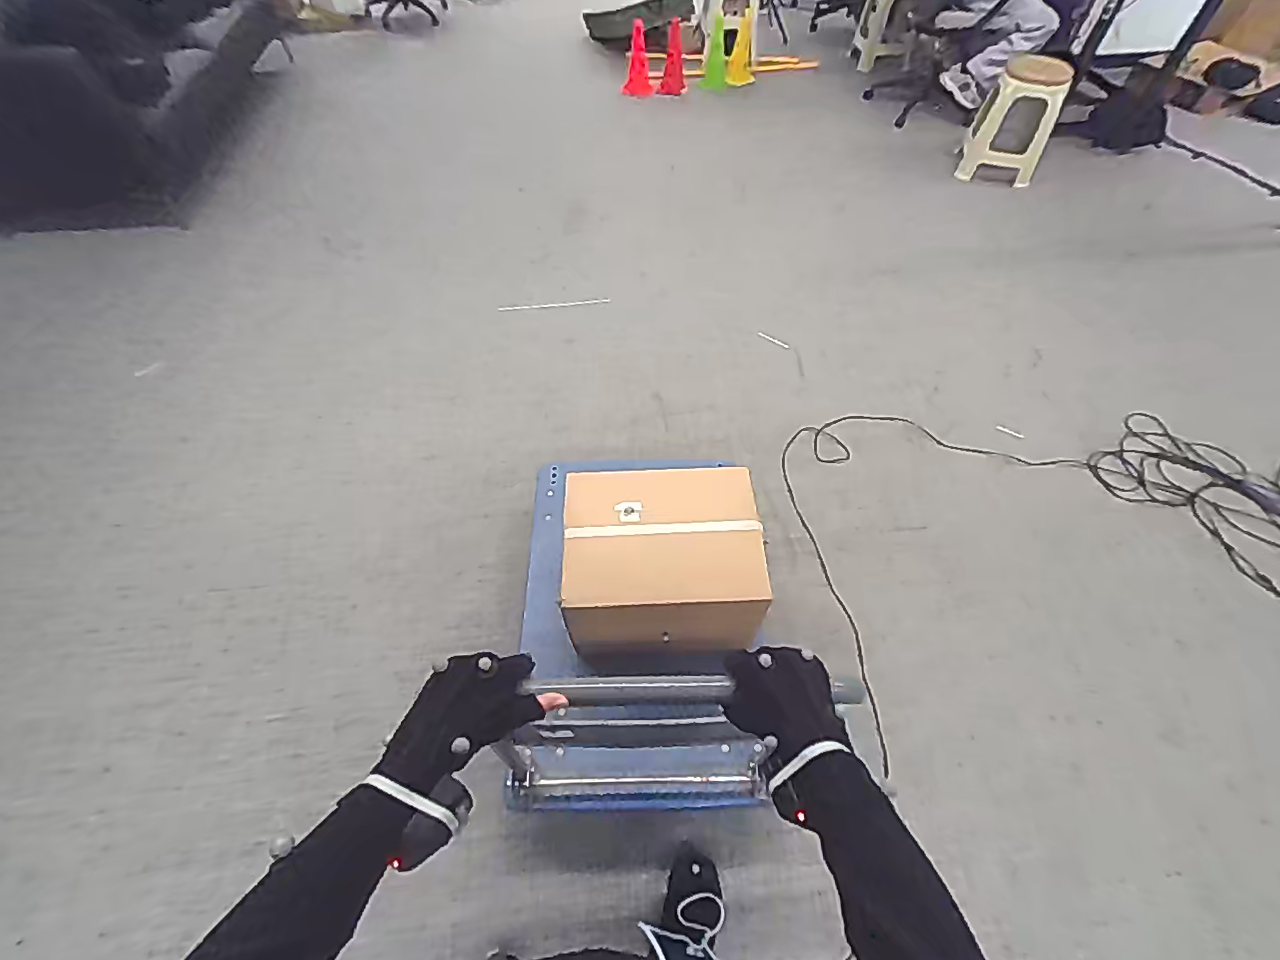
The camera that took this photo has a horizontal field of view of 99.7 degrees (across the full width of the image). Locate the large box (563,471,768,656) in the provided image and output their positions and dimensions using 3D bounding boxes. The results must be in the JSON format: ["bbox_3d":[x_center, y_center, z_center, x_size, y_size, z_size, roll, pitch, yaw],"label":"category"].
[{"bbox_3d":[0.049,0.202,1.241,0.408,0.320,0.320,-3,55,0],"label":"large box"}]
